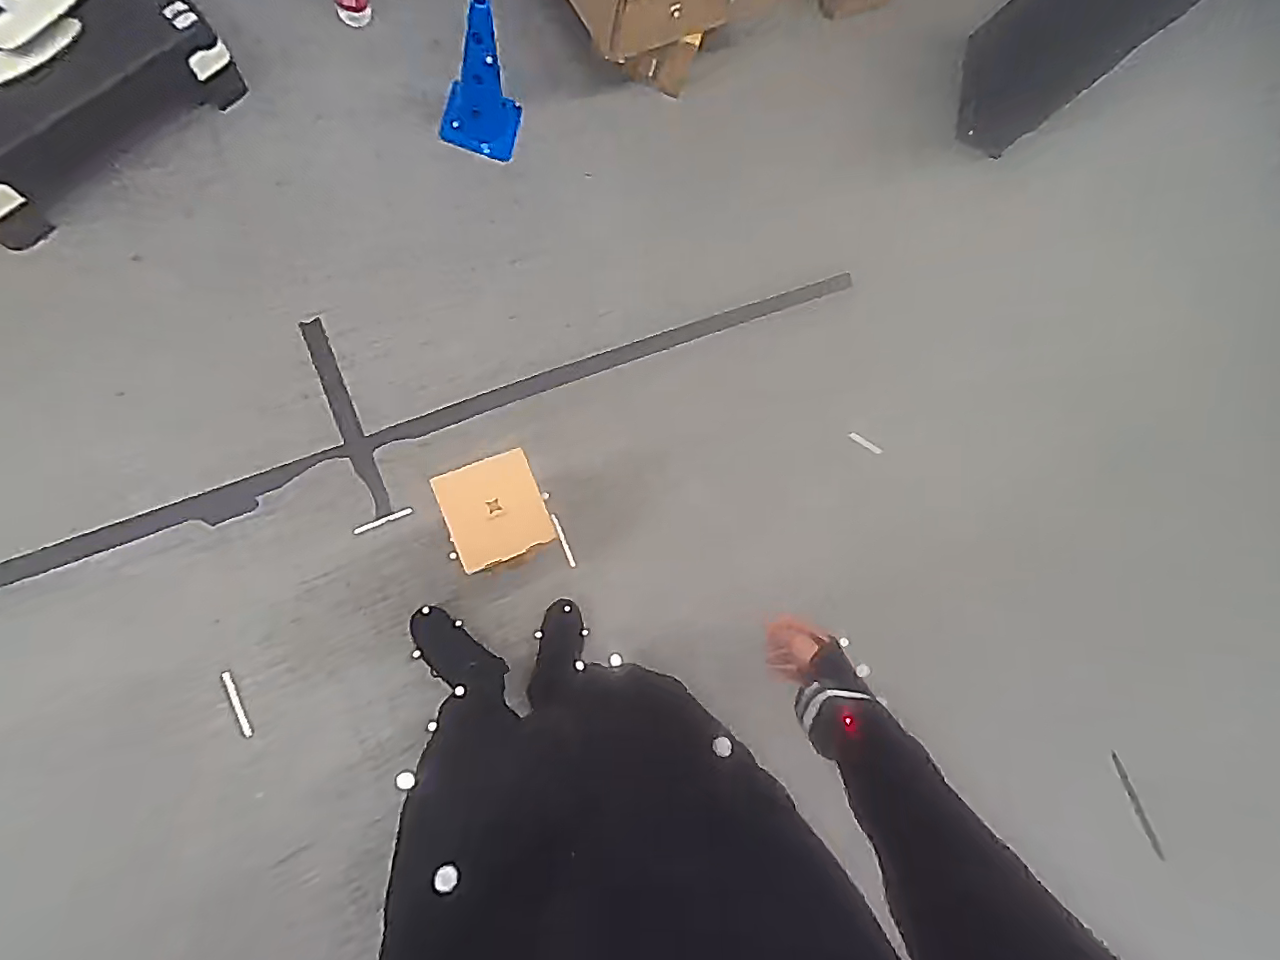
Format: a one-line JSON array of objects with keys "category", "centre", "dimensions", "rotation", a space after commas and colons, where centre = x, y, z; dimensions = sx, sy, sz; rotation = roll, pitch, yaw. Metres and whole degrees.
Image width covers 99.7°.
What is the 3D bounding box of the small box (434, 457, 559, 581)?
[{"category": "small box", "centre": [-0.267, 0.078, 1.005], "dimensions": [0.168, 0.176, 0.179], "rotation": [-22, 88, -18]}]
